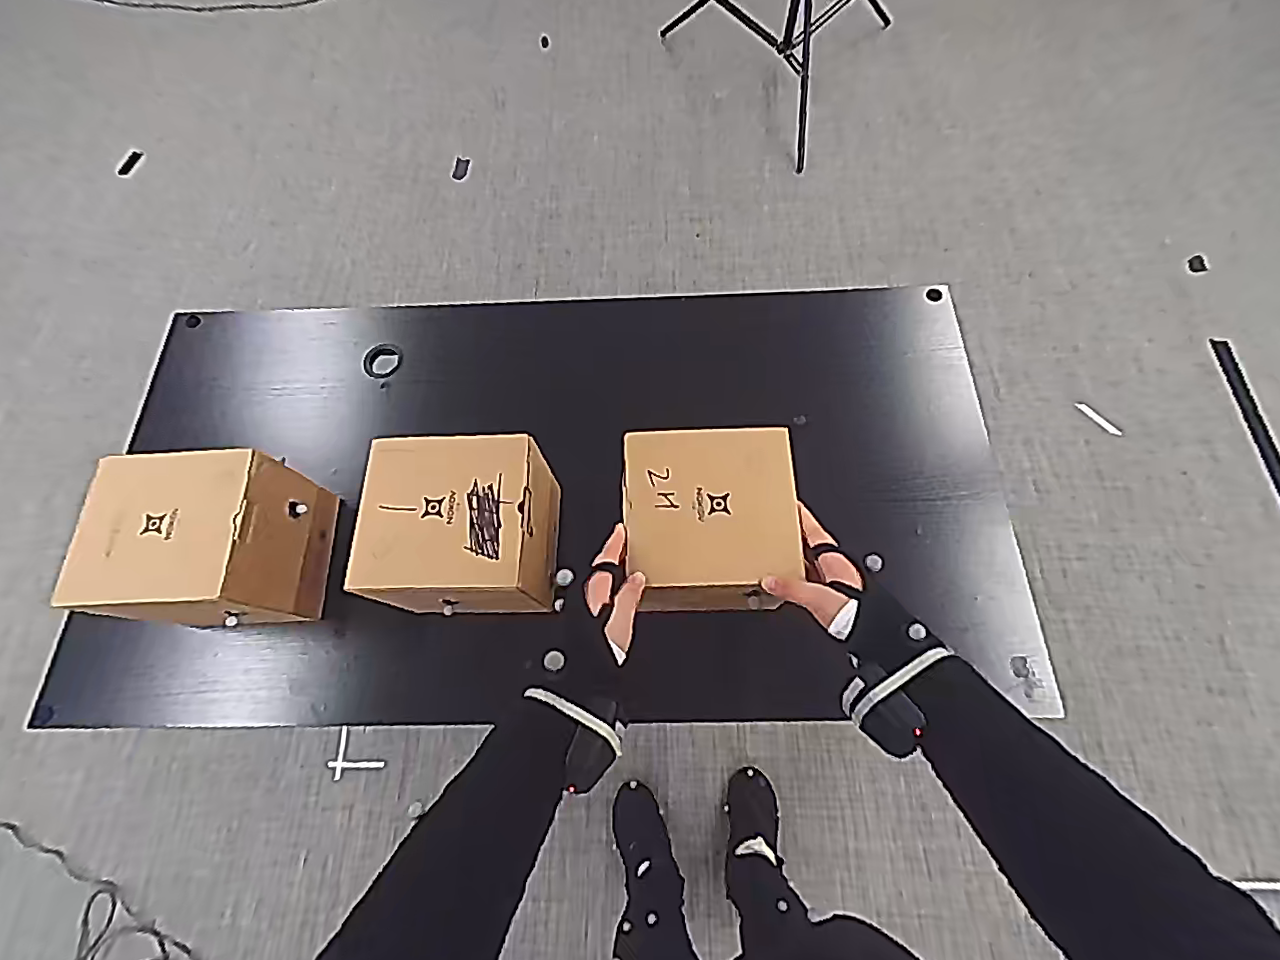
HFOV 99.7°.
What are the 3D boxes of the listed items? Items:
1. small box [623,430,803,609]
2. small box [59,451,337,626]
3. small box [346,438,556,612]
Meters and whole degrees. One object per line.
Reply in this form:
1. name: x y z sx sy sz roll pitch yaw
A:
1. small box: 0.073 0.053 0.619 0.179 0.176 0.168 -2 69 3
2. small box: -0.494 0.077 0.640 0.179 0.176 0.168 -4 68 2
3. small box: -0.200 0.059 0.631 0.179 0.176 0.168 -1 69 3
